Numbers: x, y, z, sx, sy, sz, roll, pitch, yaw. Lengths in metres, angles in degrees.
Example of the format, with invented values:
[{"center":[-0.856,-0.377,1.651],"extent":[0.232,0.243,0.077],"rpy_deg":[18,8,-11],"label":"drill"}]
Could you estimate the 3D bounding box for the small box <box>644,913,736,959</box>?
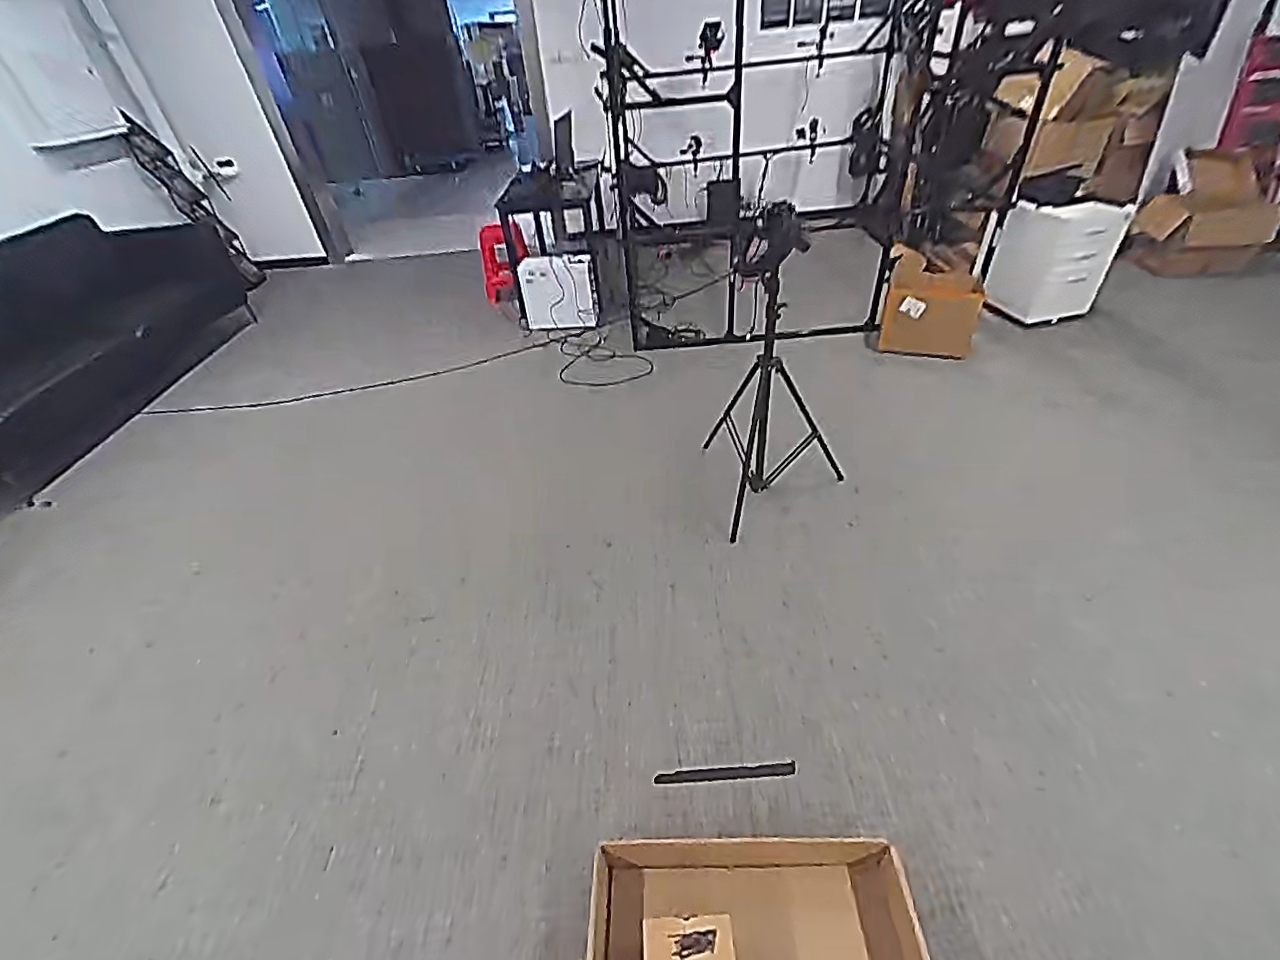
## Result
[{"center":[0.093,0.932,0.995],"extent":[0.168,0.176,0.179],"rpy_deg":[-4,39,1],"label":"small box"}]
